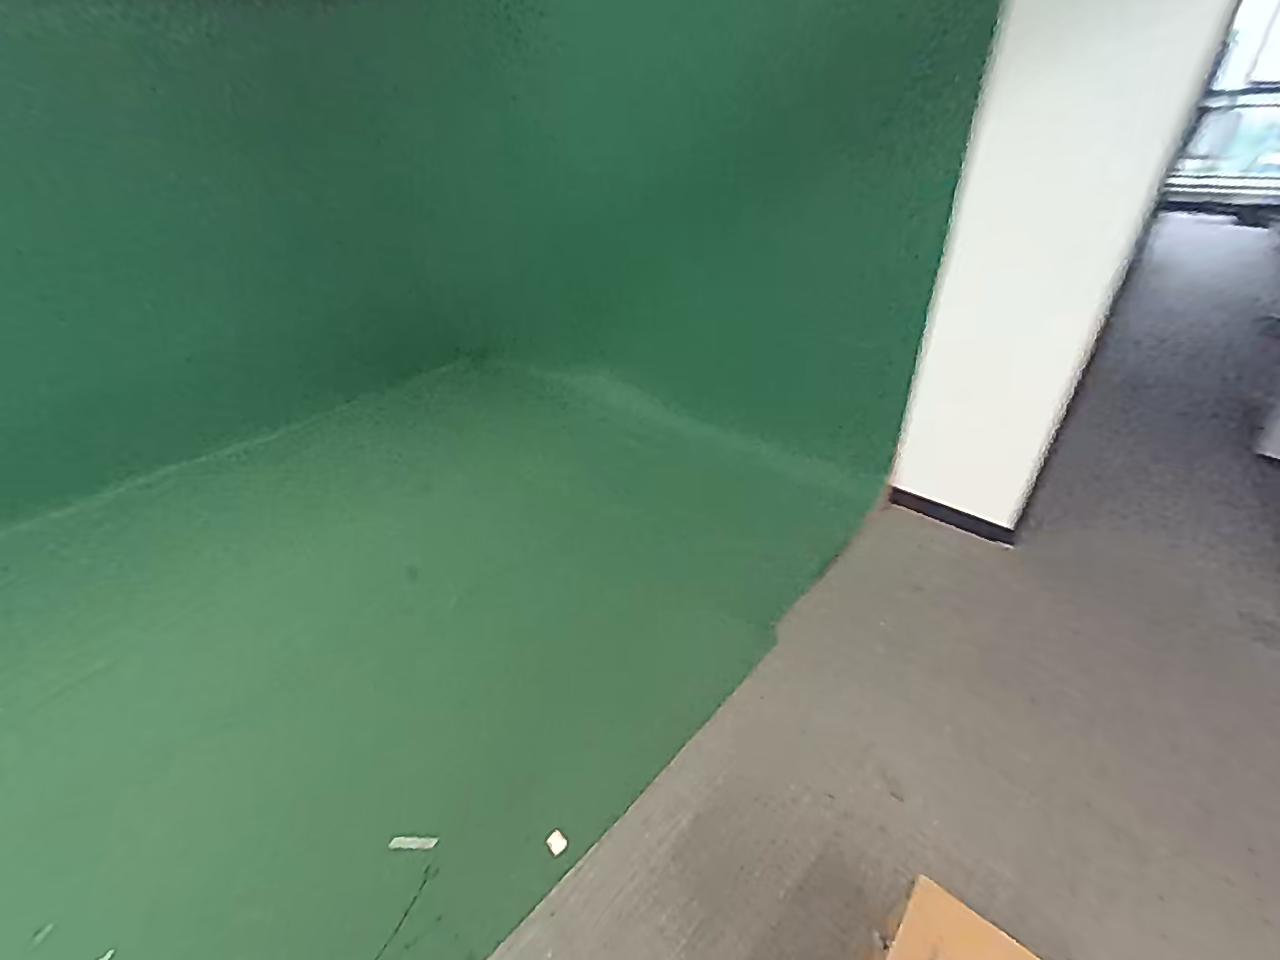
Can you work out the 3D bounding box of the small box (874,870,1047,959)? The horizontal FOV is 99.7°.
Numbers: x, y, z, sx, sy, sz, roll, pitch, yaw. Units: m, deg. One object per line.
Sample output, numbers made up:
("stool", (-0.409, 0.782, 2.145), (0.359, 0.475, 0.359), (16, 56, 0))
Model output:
("small box", (0.407, 0.672, 0.702), (0.179, 0.176, 0.168), (25, 43, 36))
